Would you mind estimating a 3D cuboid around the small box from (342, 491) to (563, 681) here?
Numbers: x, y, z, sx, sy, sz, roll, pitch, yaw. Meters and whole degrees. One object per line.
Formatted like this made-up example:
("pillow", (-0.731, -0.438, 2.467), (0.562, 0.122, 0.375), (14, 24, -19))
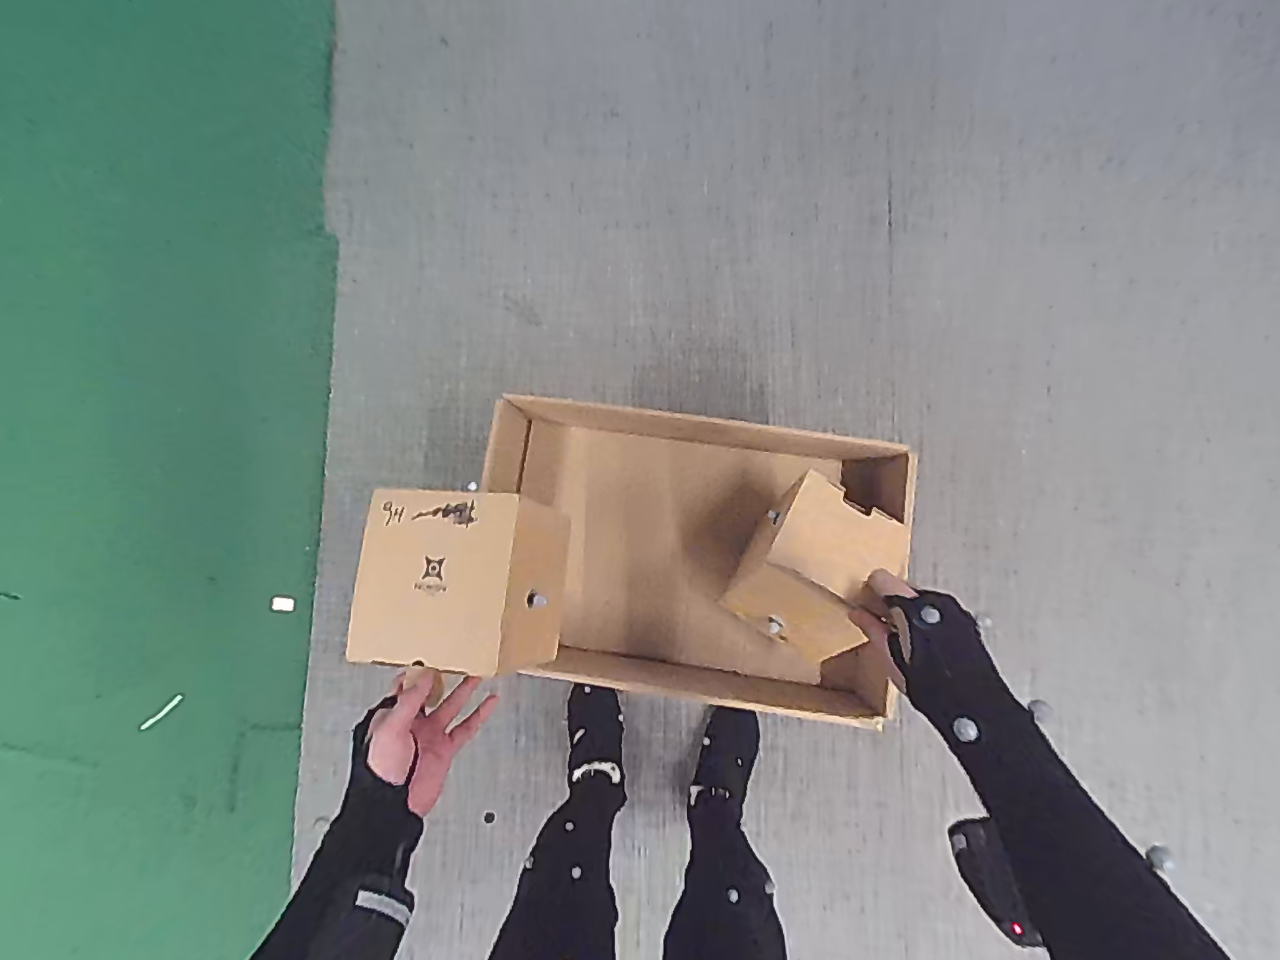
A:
("small box", (-0.194, 0.114, 0.609), (0.168, 0.176, 0.179), (2, 79, 12))
